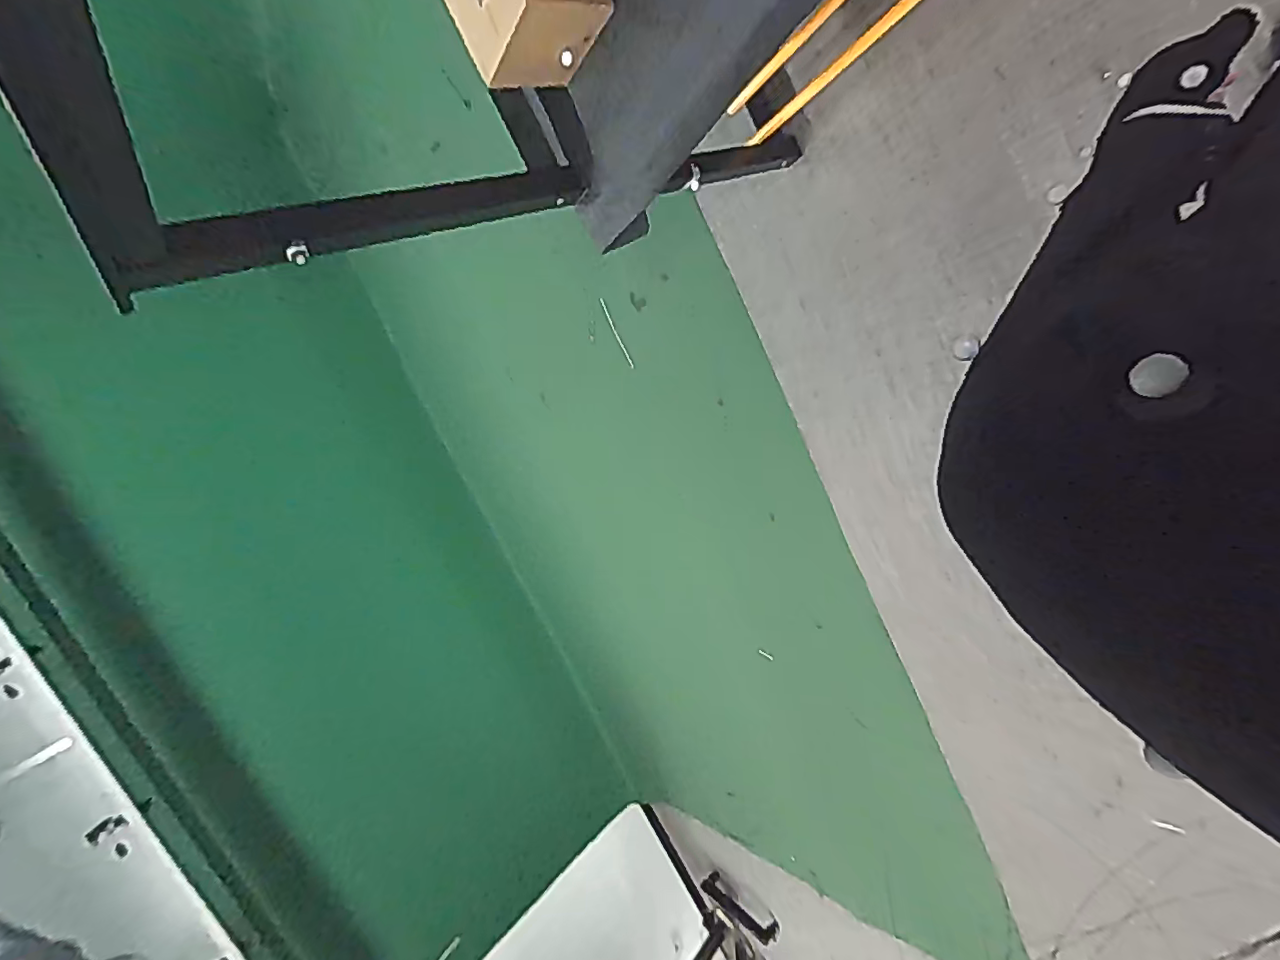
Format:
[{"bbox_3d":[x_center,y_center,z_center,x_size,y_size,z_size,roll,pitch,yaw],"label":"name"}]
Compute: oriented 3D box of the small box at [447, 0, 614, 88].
[{"bbox_3d":[-0.173,-0.746,0.834,0.168,0.176,0.179,-14,105,54],"label":"small box"}]
